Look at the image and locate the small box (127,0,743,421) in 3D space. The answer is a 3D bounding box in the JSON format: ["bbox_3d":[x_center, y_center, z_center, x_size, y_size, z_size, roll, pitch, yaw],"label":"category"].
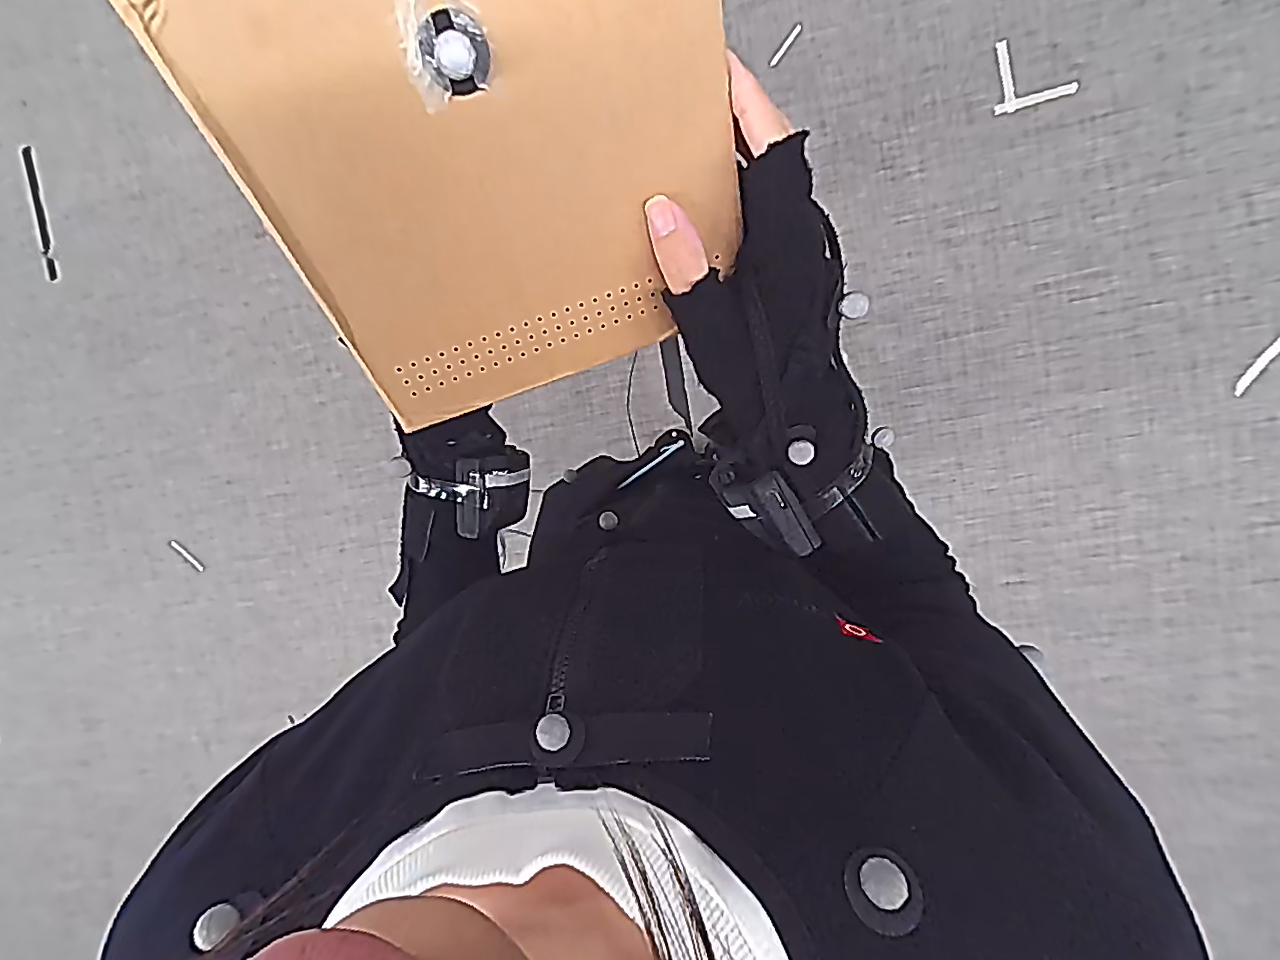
[{"bbox_3d":[-0.065,-0.155,0.264,0.179,0.168,0.176,-20,134,-3],"label":"small box"}]
